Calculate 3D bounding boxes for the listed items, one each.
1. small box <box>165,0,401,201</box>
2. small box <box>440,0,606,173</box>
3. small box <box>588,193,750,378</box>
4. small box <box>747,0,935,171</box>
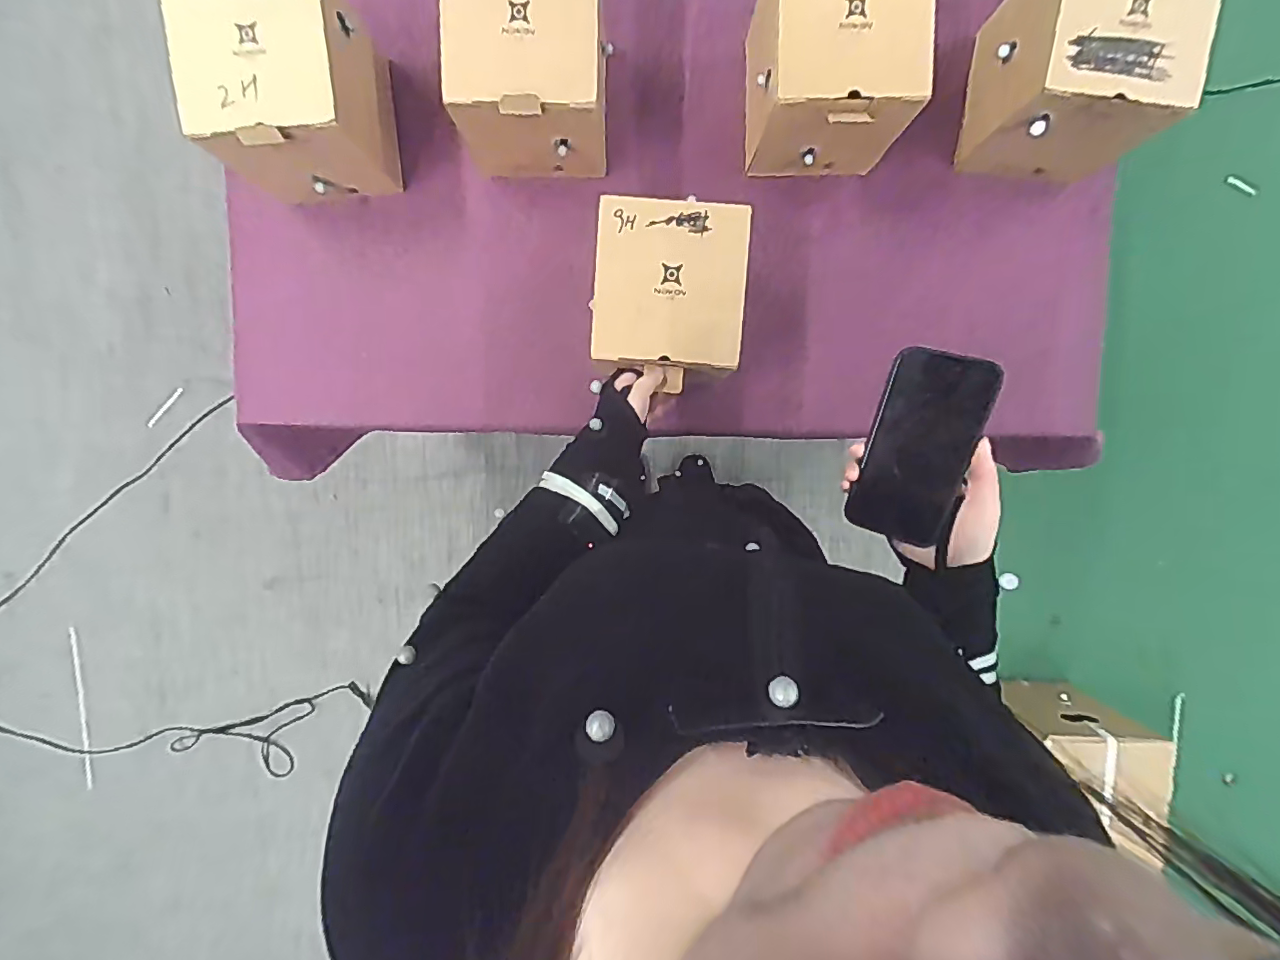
[{"bbox_3d":[-0.407,-0.462,0.643,0.168,0.176,0.179,-5,95,1],"label":"small box"},{"bbox_3d":[-0.126,-0.490,0.641,0.168,0.176,0.179,1,95,-1],"label":"small box"},{"bbox_3d":[0.031,-0.222,0.664,0.168,0.176,0.179,4,96,-1],"label":"small box"},{"bbox_3d":[0.223,-0.496,0.639,0.168,0.176,0.179,-1,96,1],"label":"small box"}]
